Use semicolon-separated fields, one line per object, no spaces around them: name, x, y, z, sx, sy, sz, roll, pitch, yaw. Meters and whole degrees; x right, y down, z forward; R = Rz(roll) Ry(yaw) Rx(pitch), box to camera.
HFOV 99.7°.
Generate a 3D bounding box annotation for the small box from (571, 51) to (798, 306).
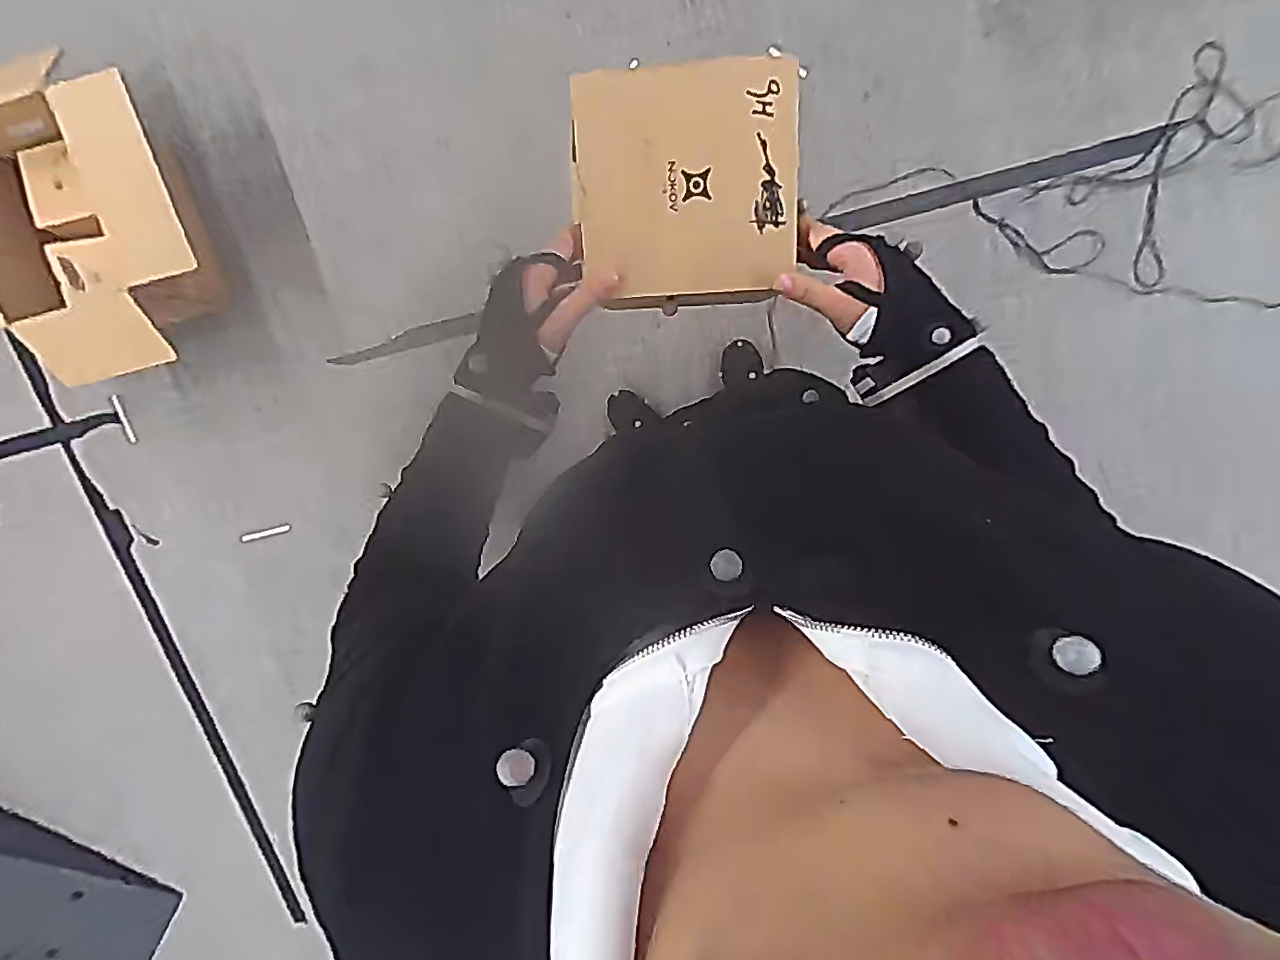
small box;0.042;-0.258;0.507;0.179;0.176;0.168;-2;104;4
